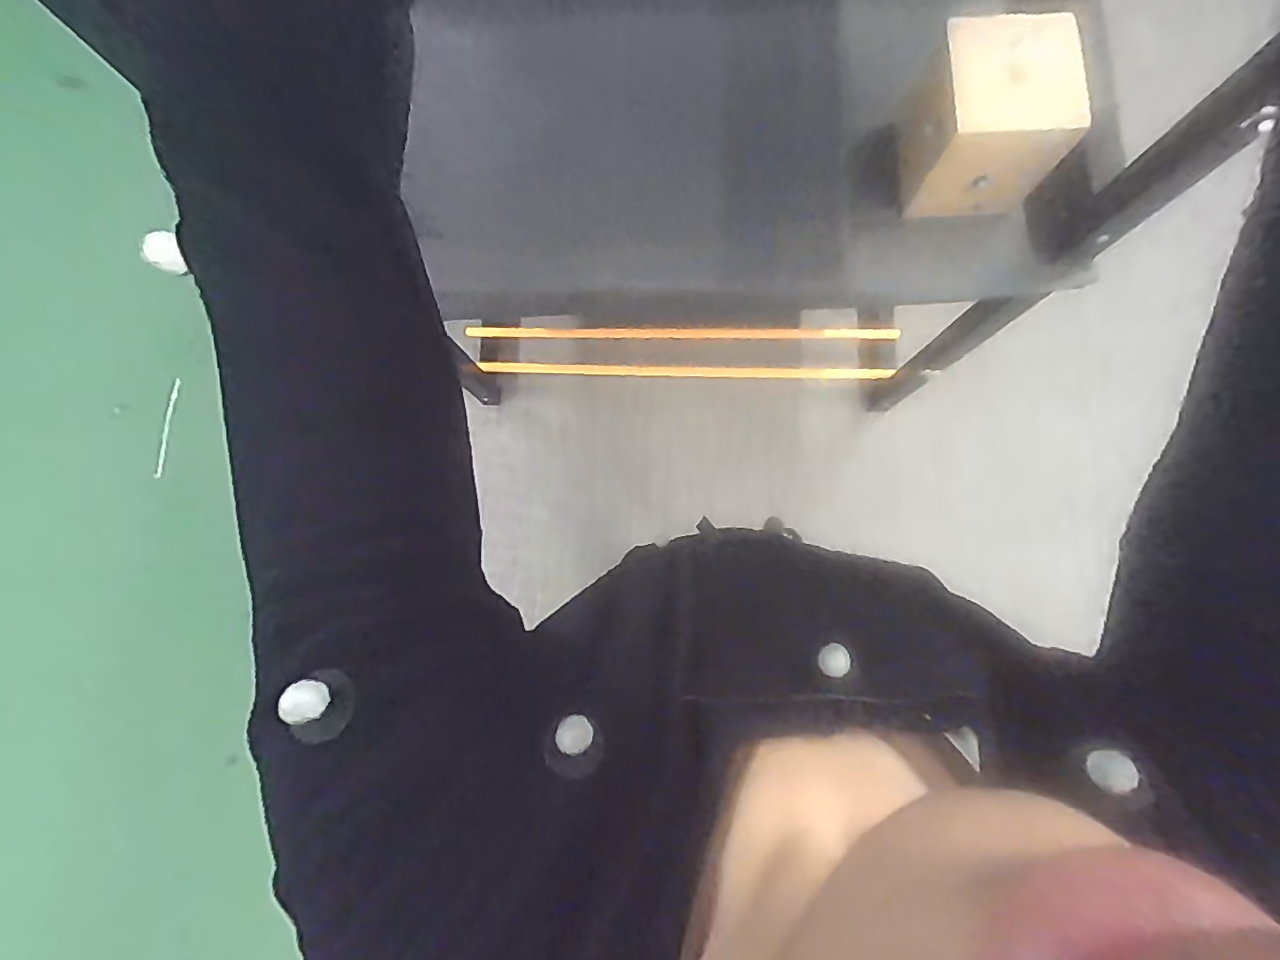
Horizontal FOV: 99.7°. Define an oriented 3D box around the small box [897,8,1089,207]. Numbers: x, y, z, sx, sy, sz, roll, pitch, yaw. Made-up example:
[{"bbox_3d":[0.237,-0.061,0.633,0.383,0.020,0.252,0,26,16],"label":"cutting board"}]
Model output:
[{"bbox_3d":[0.487,-0.514,0.773,0.168,0.176,0.179,0,80,3],"label":"small box"}]
